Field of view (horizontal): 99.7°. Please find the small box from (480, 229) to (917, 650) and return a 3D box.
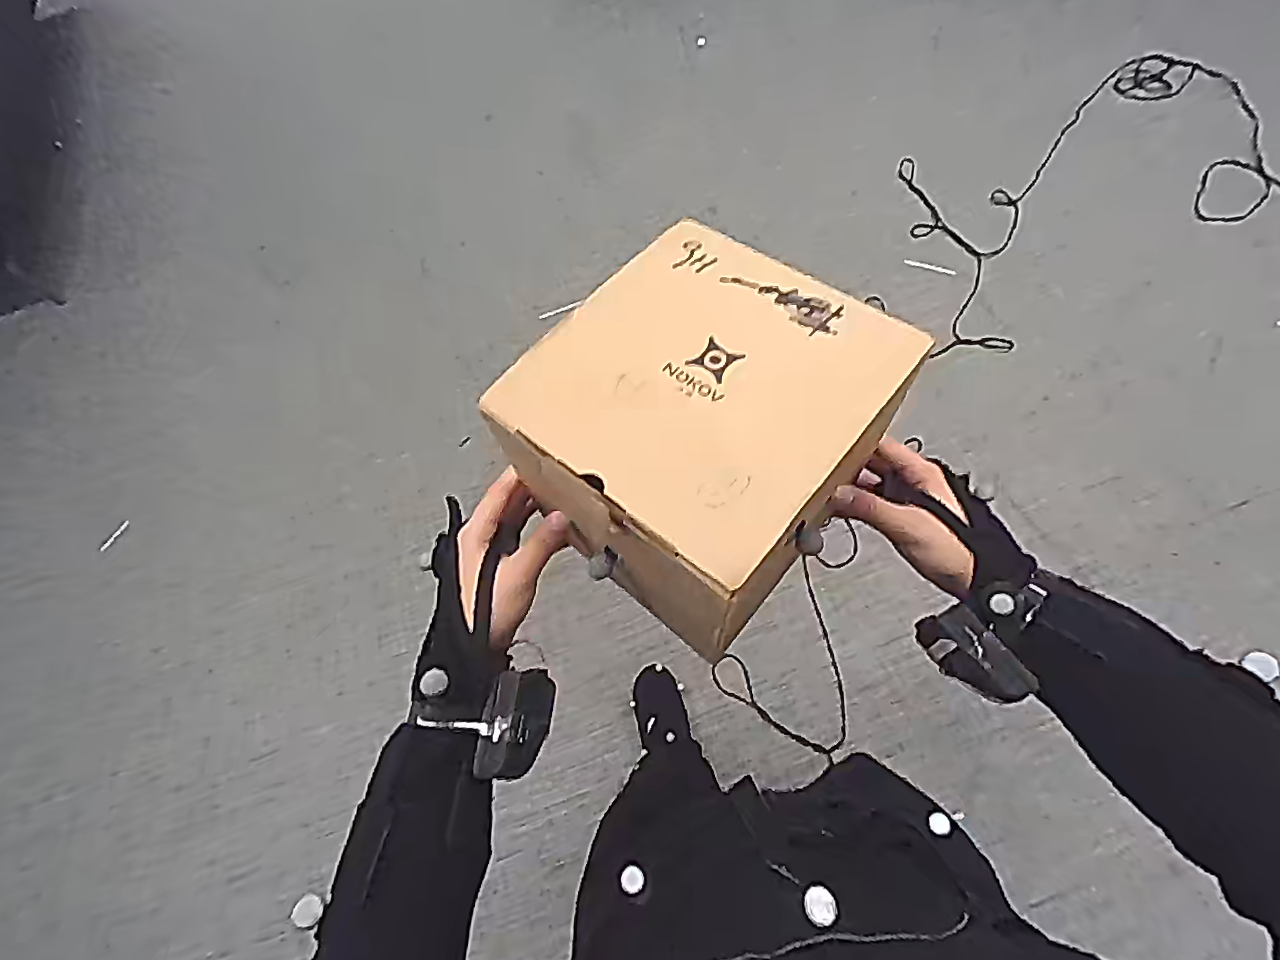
[{"bbox_3d":[0.037,-0.016,0.353,0.168,0.176,0.179,37,71,21],"label":"small box"}]
